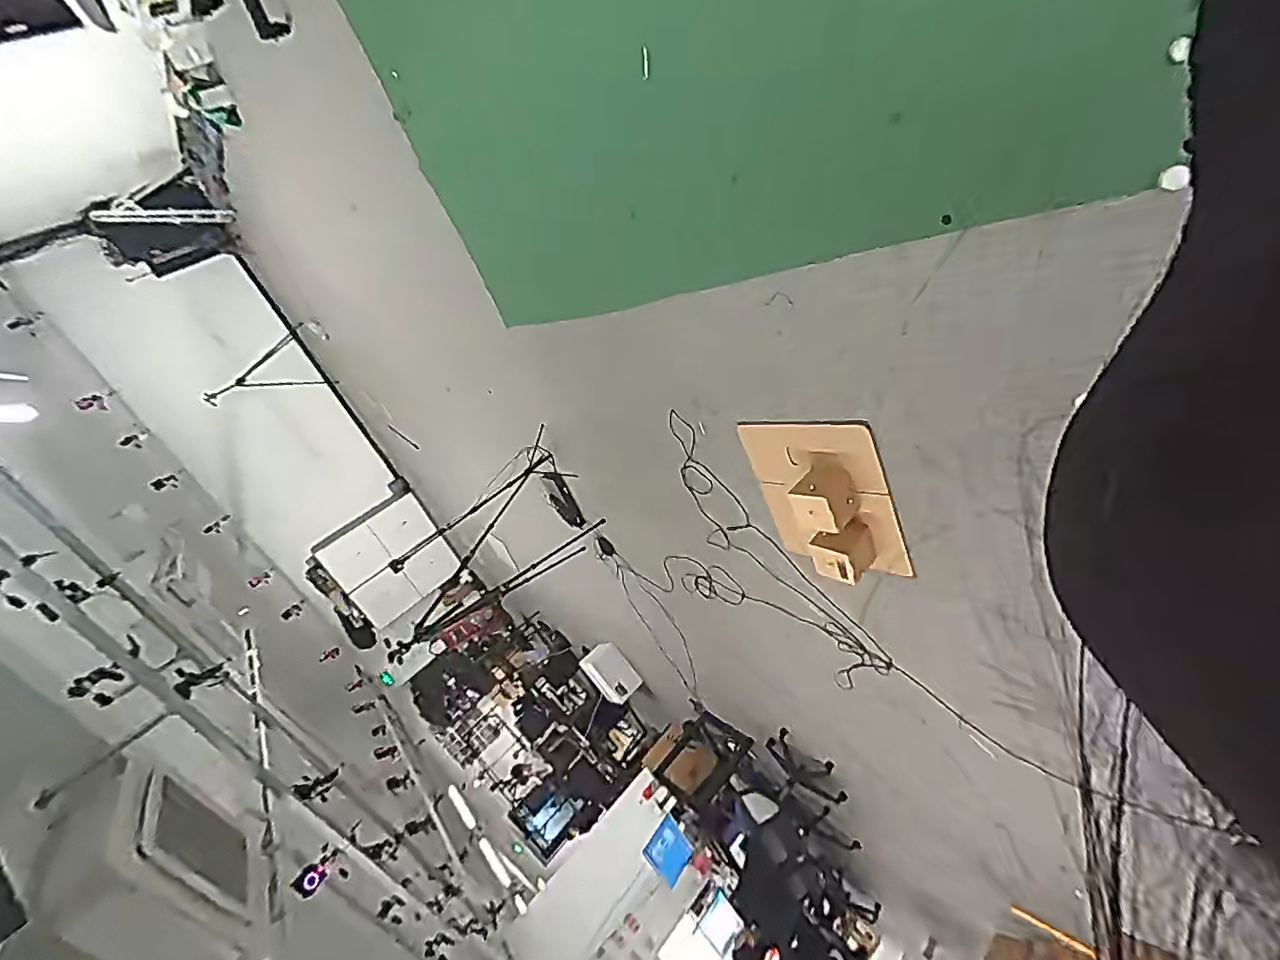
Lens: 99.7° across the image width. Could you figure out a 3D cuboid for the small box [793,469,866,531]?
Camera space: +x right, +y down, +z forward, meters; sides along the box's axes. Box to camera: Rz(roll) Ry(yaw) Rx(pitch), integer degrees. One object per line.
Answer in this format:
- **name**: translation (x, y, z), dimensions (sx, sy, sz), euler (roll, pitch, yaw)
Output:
- **small box**: translation (0.720, 0.069, 2.047), dimensions (0.179, 0.176, 0.168), euler (4, 128, 54)
